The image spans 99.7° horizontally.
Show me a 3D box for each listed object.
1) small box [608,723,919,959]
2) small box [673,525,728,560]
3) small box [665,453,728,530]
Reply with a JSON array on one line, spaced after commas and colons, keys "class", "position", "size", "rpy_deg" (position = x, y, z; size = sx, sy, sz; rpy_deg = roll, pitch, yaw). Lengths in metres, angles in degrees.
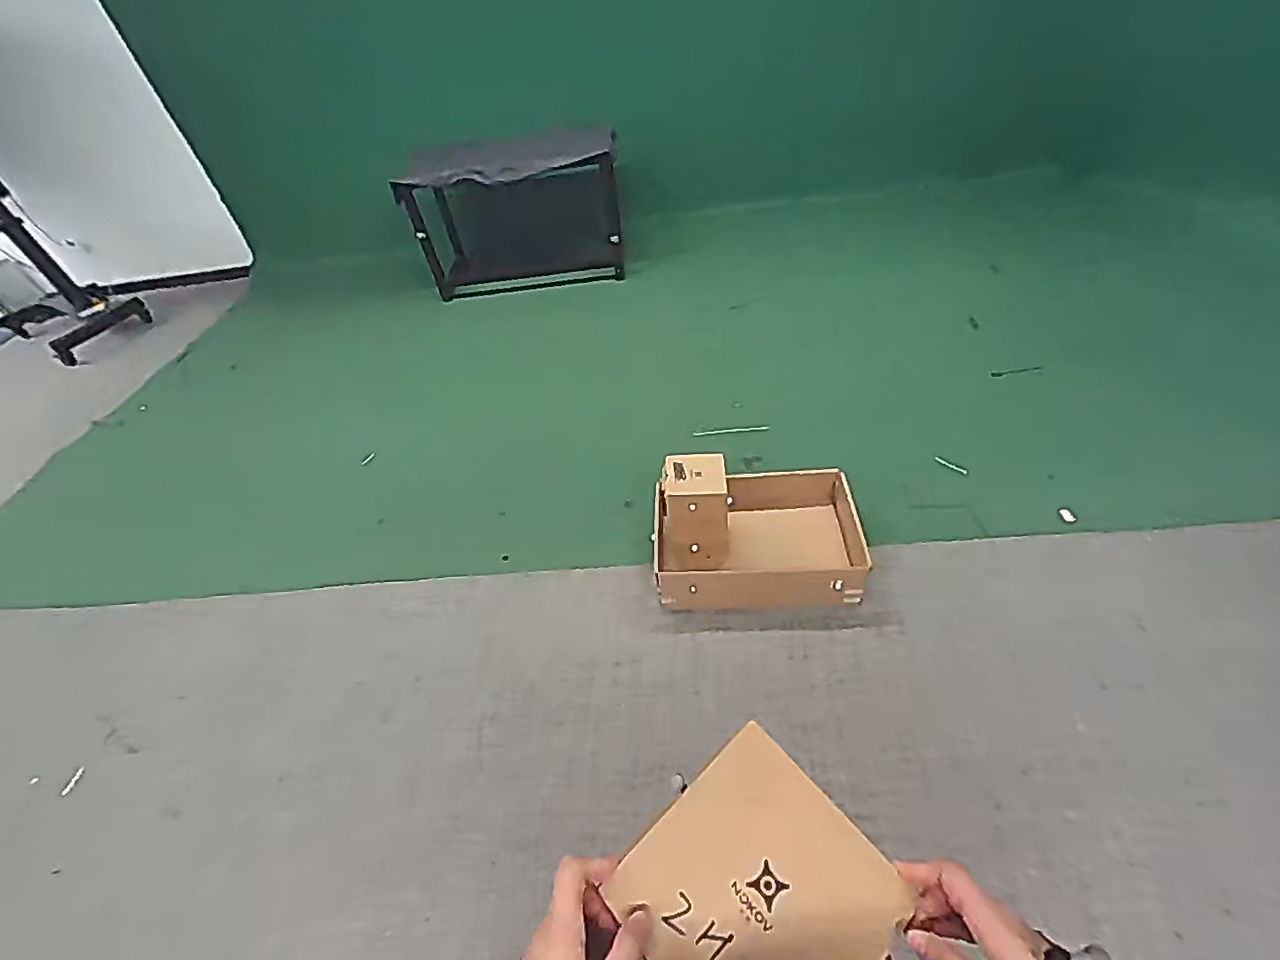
[{"class": "small box", "position": [0.089, 0.347, 0.463], "size": [0.179, 0.176, 0.168], "rpy_deg": [-38, 63, -22]}, {"class": "small box", "position": [0.195, 0.146, 1.743], "size": [0.168, 0.176, 0.179], "rpy_deg": [-4, 46, 6]}, {"class": "small box", "position": [0.170, 0.039, 1.620], "size": [0.179, 0.176, 0.168], "rpy_deg": [-3, 46, 6]}]
